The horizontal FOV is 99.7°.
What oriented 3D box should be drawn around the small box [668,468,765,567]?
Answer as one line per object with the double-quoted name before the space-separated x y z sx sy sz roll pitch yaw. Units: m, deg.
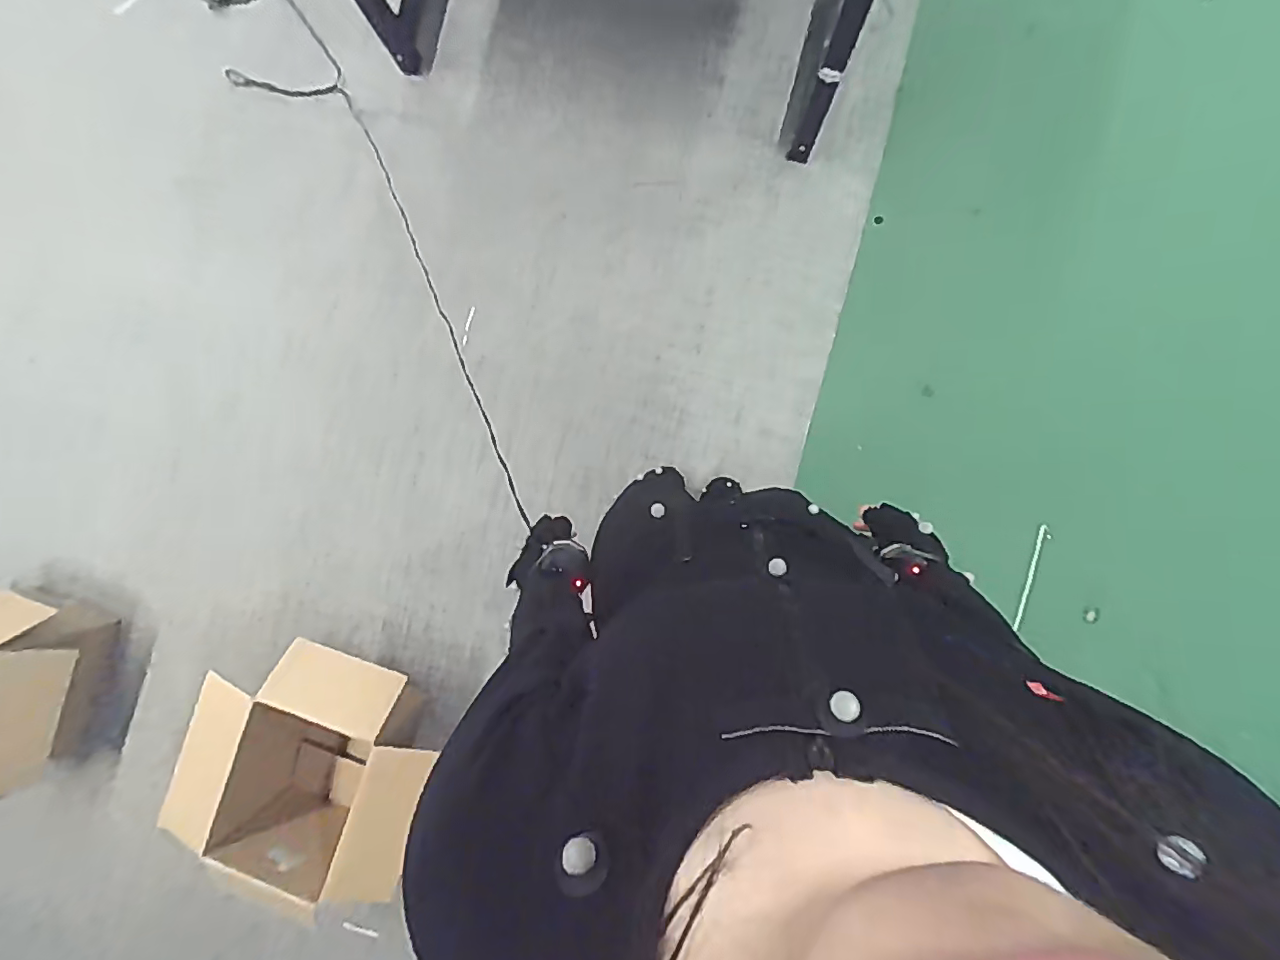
"small box" 0.191 0.100 1.409 0.179 0.176 0.168 -19 59 -19
